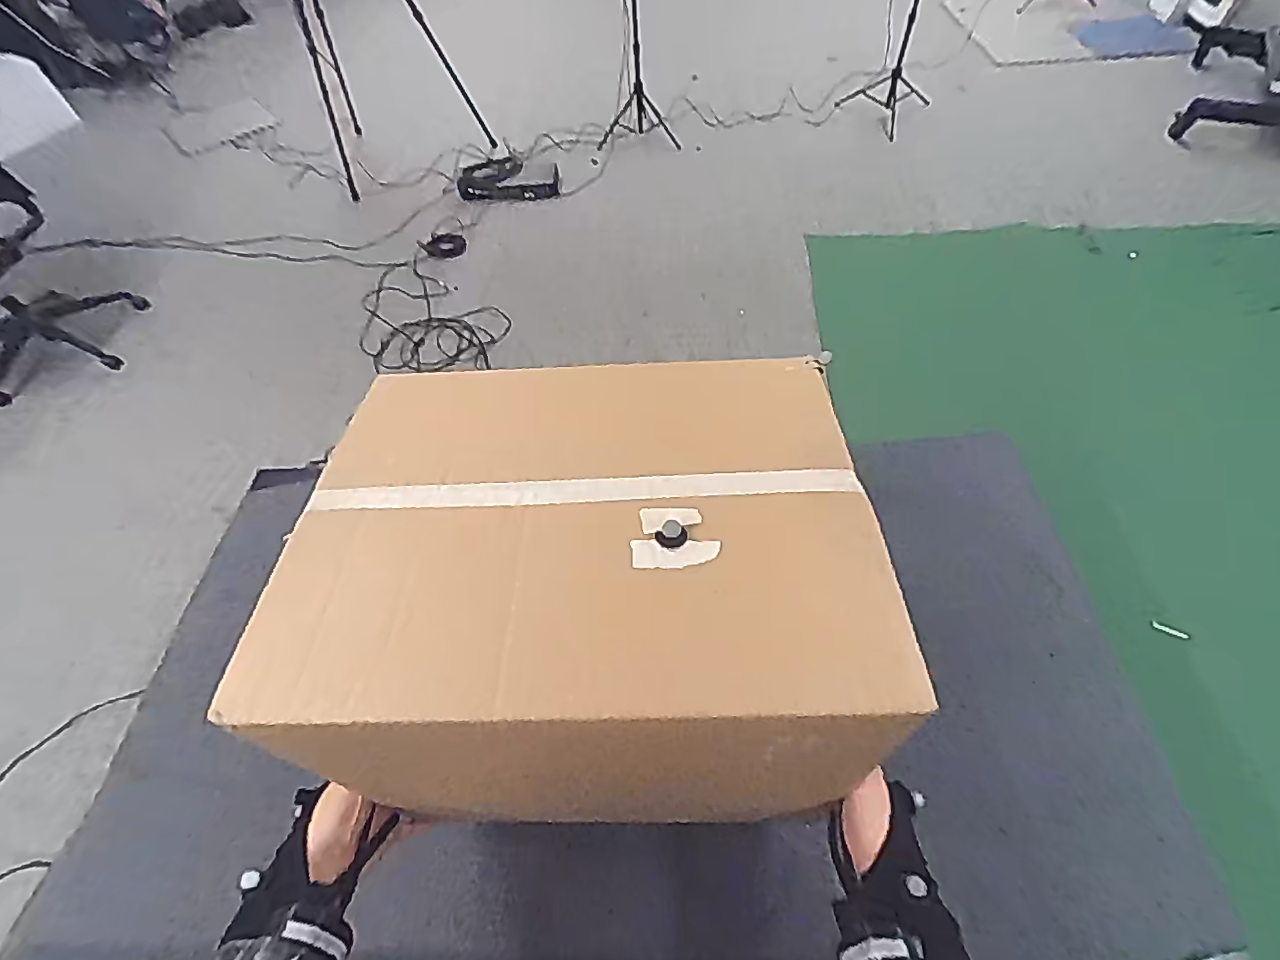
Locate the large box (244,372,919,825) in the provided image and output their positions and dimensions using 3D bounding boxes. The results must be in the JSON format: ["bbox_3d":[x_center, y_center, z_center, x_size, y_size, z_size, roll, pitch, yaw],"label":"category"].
[{"bbox_3d":[-0.032,0.121,0.520,0.408,0.320,0.320,-2,50,2],"label":"large box"}]
